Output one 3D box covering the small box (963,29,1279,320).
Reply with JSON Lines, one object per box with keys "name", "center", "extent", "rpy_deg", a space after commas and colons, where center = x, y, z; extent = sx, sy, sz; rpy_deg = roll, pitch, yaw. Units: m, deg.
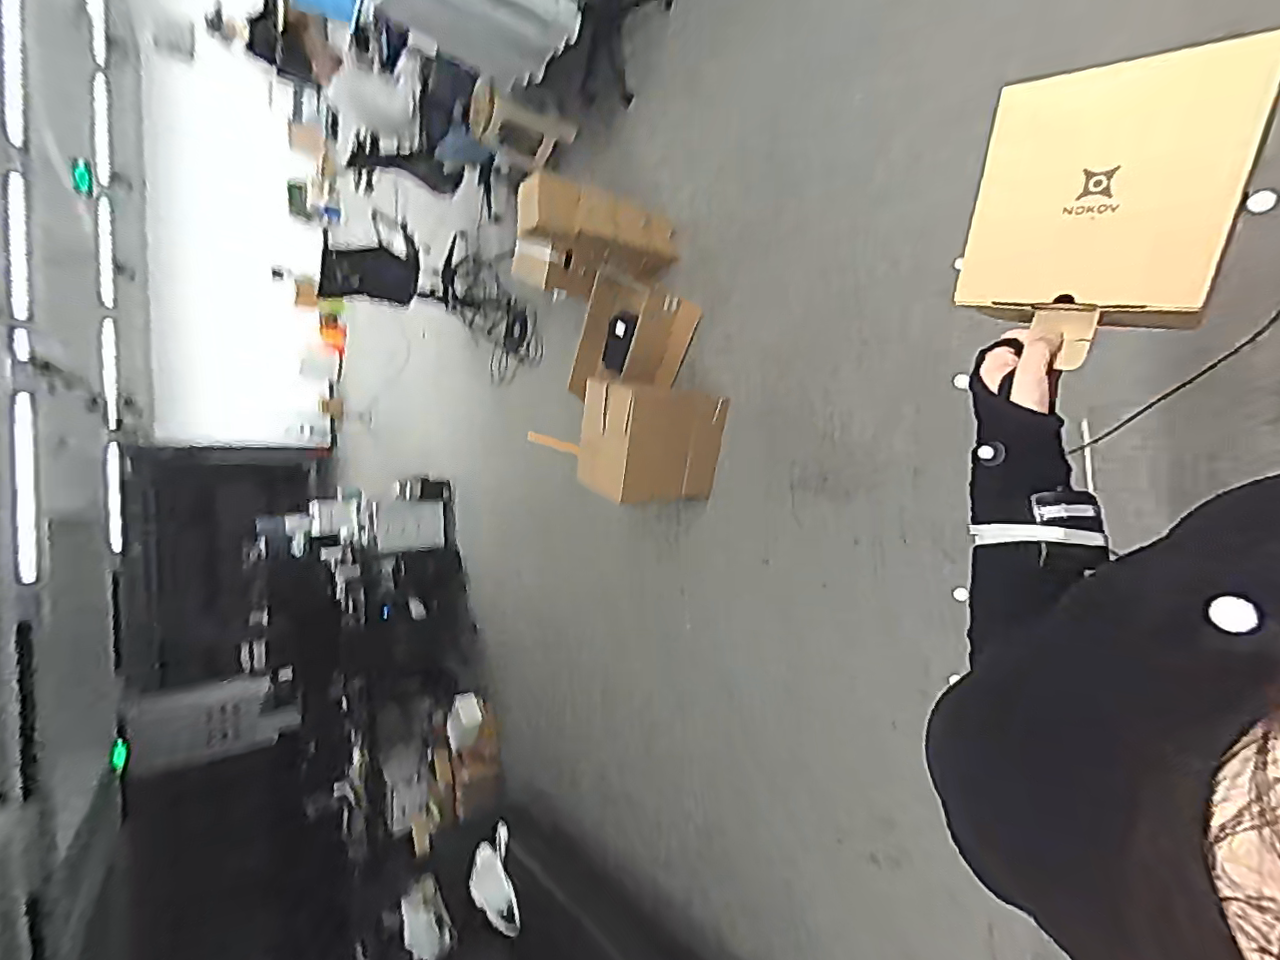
{"name": "small box", "center": [0.419, -0.244, 0.480], "extent": [0.168, 0.176, 0.179], "rpy_deg": [21, 113, 41]}
